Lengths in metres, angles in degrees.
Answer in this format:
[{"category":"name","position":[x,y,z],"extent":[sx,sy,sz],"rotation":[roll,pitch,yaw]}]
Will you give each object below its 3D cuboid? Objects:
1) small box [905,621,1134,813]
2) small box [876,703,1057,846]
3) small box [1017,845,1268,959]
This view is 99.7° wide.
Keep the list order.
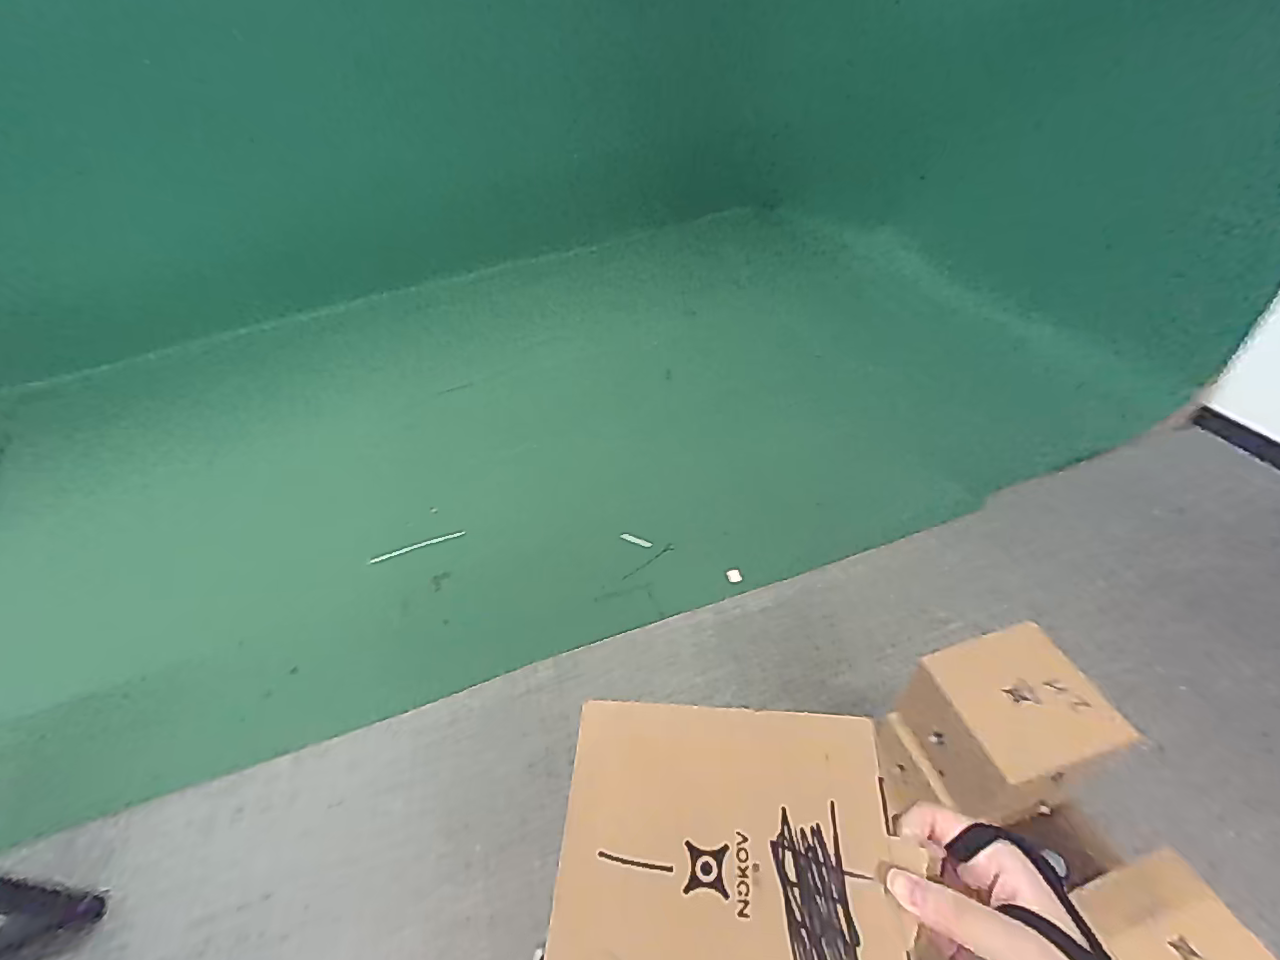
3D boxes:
[{"category":"small box","position":[0.489,0.326,0.737],"extent":[0.179,0.176,0.168],"rotation":[-15,46,-6]},{"category":"small box","position":[0.496,0.445,0.851],"extent":[0.179,0.176,0.168],"rotation":[-16,46,-7]},{"category":"small box","position":[0.628,0.600,0.674],"extent":[0.168,0.176,0.179],"rotation":[-17,43,-9]}]
